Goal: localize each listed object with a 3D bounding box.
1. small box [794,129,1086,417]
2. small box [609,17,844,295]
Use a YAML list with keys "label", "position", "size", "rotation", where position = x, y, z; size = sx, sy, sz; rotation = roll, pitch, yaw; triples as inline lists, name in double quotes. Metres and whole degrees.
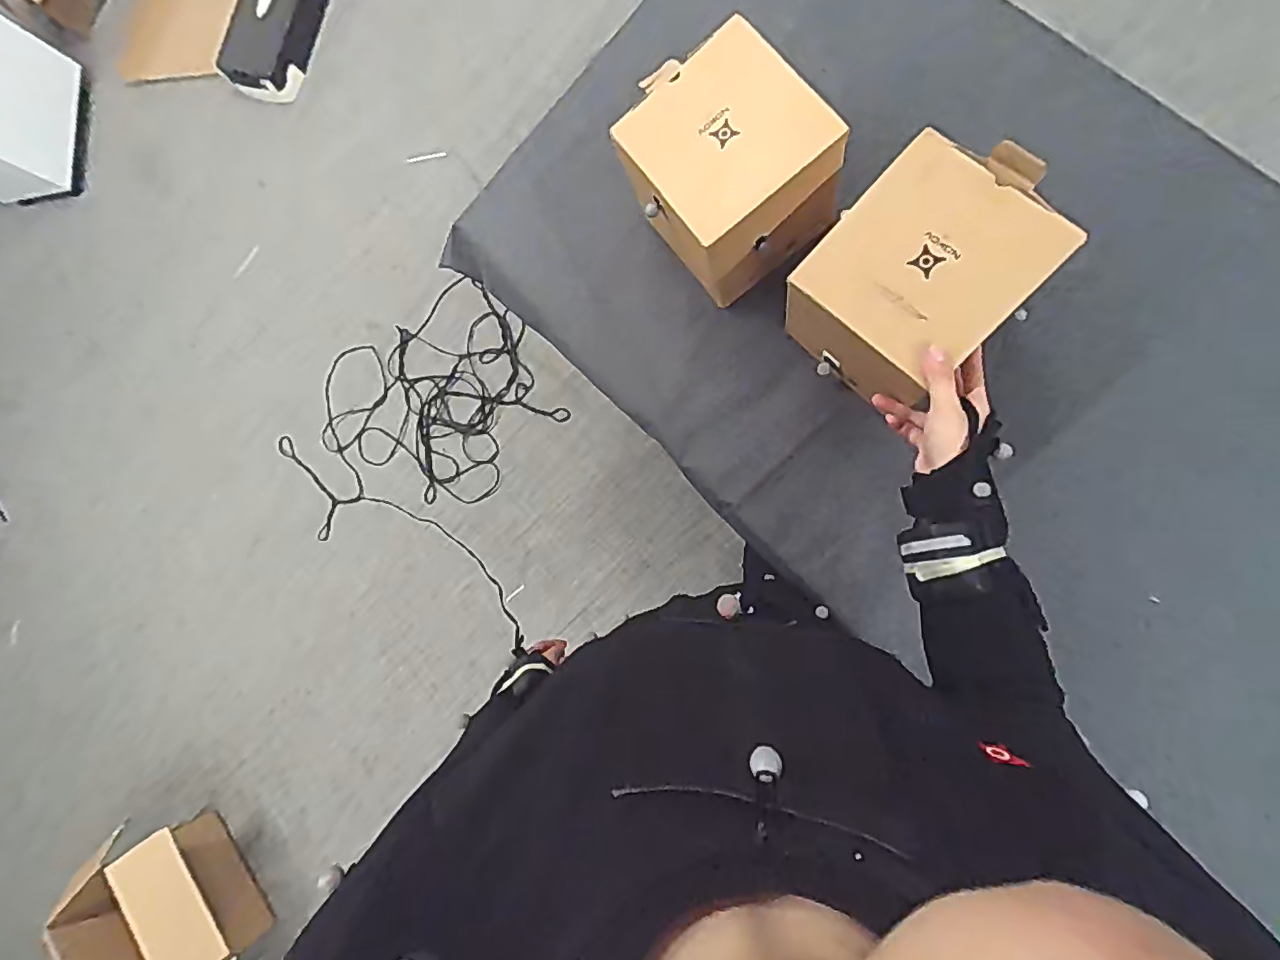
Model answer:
- label: "small box"
  position: [0.270, -0.188, 0.544]
  size: [0.168, 0.176, 0.179]
  rotation: [44, 97, 12]
- label: "small box"
  position: [0.099, -0.333, 0.601]
  size: [0.168, 0.176, 0.179]
  rotation: [-38, 77, 9]
